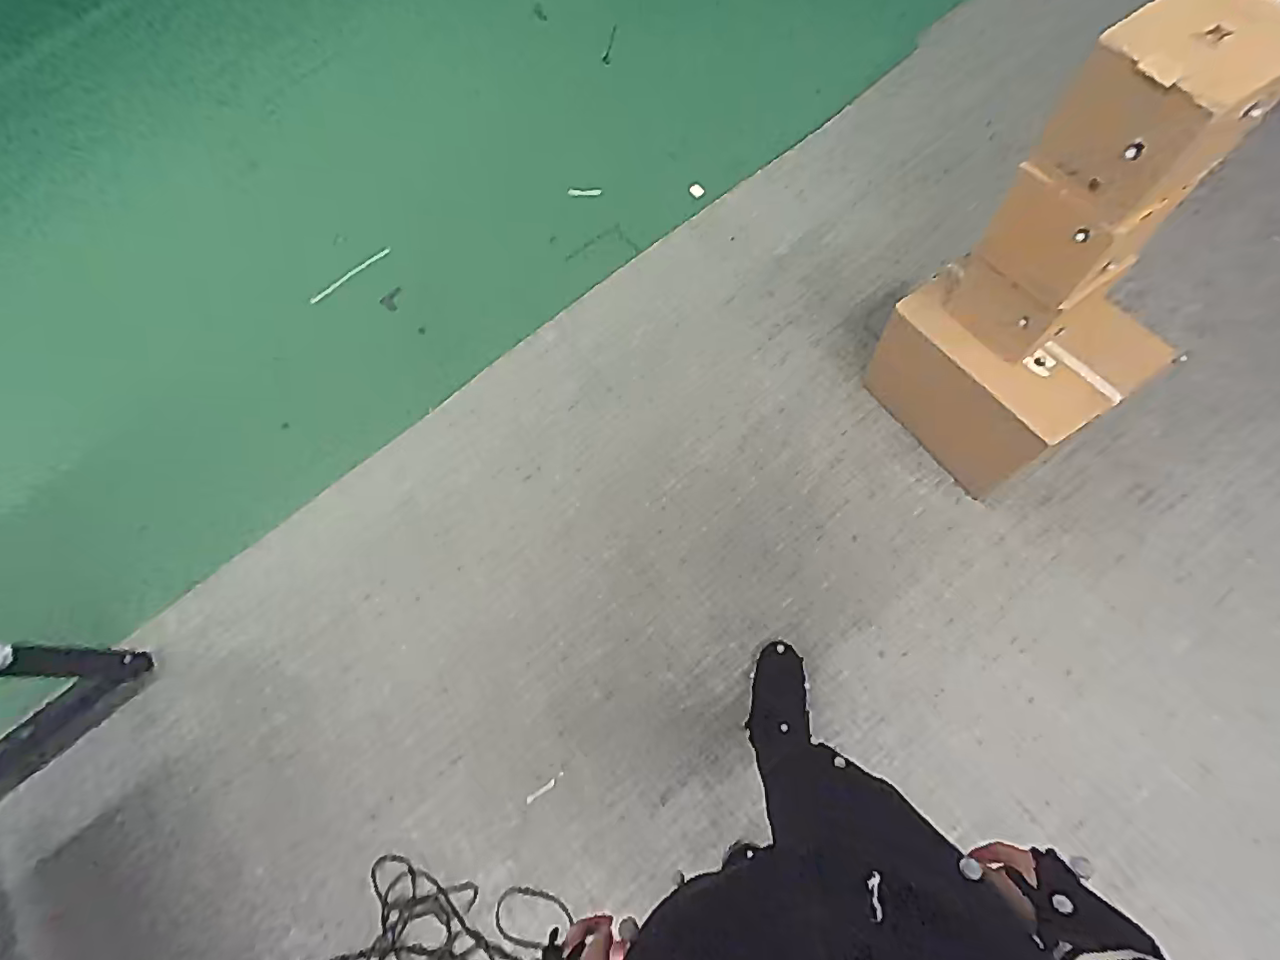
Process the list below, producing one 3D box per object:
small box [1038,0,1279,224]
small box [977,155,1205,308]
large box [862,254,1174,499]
[{"bbox_3d":[0.662,-0.470,0.691,0.179,0.176,0.168,-32,70,-5],"label":"small box"},{"bbox_3d":[0.676,-0.407,0.840,0.168,0.176,0.179,-35,69,-5],"label":"small box"},{"bbox_3d":[0.779,-0.233,1.197,0.320,0.320,0.408,-34,69,-4],"label":"large box"}]
